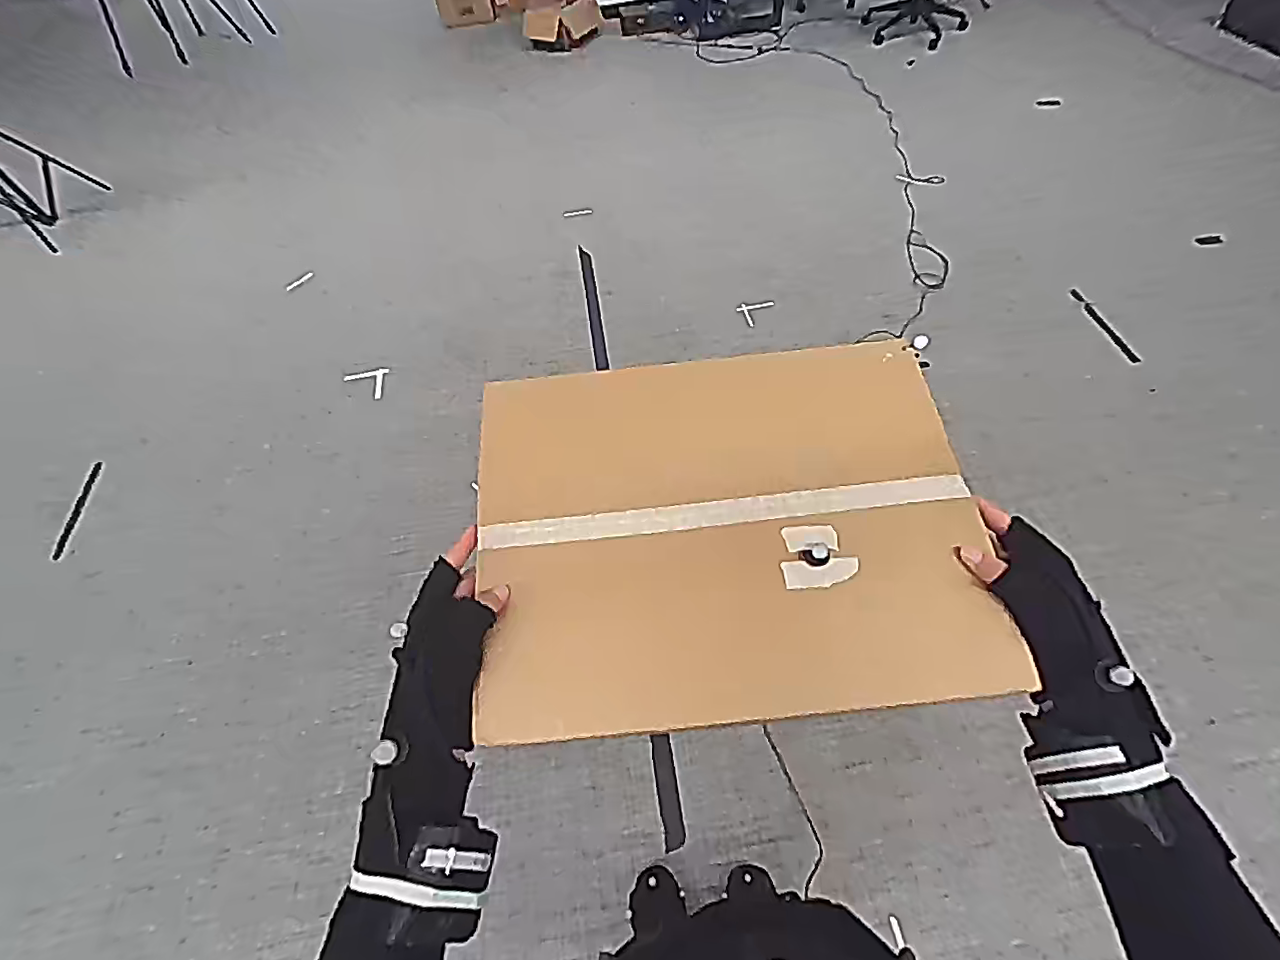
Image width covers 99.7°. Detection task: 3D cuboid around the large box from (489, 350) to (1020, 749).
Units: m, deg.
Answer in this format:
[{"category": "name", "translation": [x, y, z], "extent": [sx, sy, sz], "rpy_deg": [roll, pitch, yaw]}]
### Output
[{"category": "large box", "translation": [0.074, 0.097, 0.592], "extent": [0.408, 0.320, 0.320], "rpy_deg": [-6, 65, 0]}]
